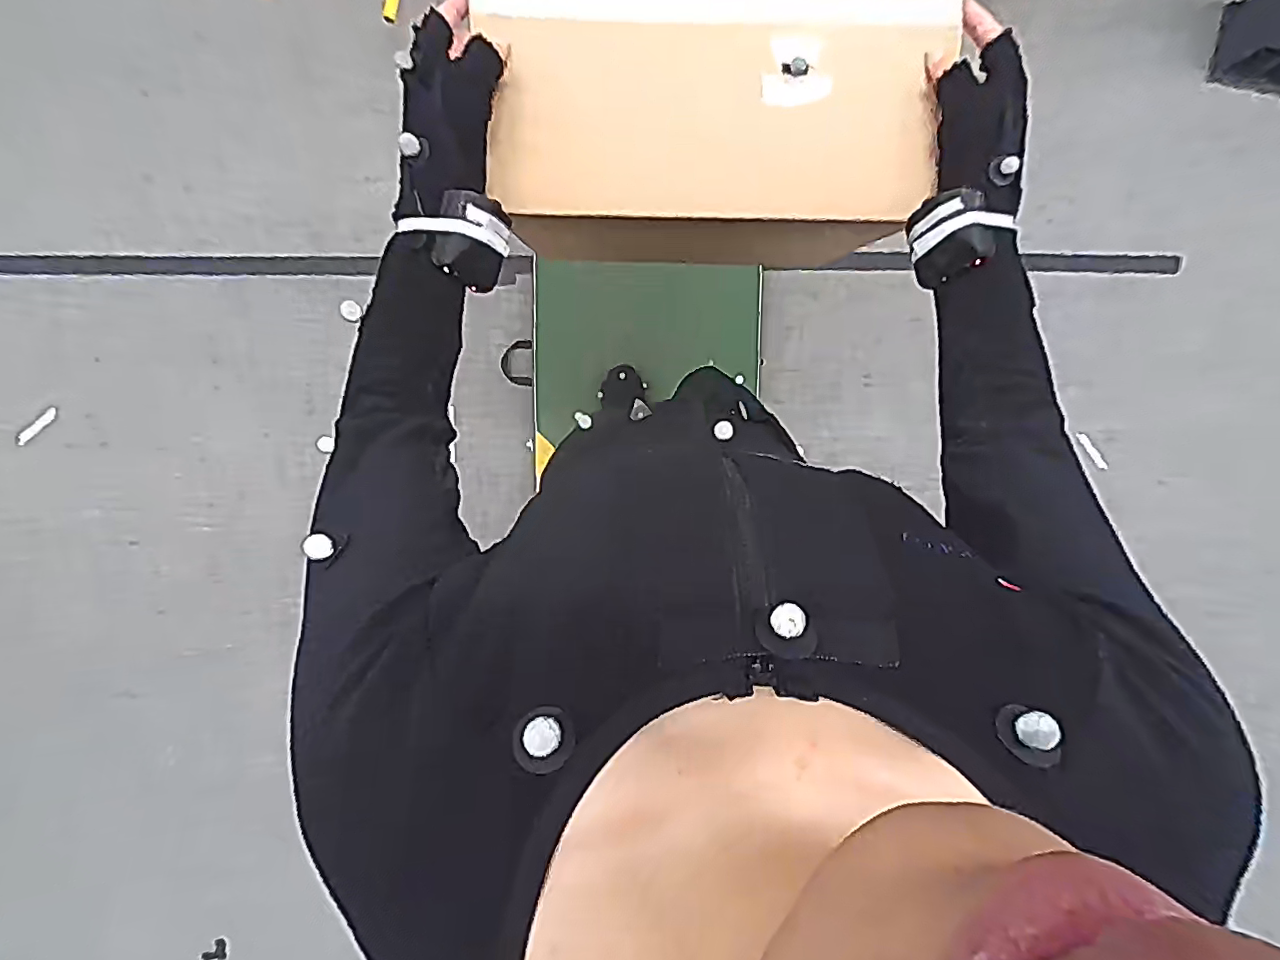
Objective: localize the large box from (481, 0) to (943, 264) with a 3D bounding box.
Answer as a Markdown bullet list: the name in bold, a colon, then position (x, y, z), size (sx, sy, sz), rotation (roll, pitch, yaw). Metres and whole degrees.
- **large box**: position (0.055, -0.431, 0.607), size (0.408, 0.320, 0.320), rotation (0, 104, -2)
